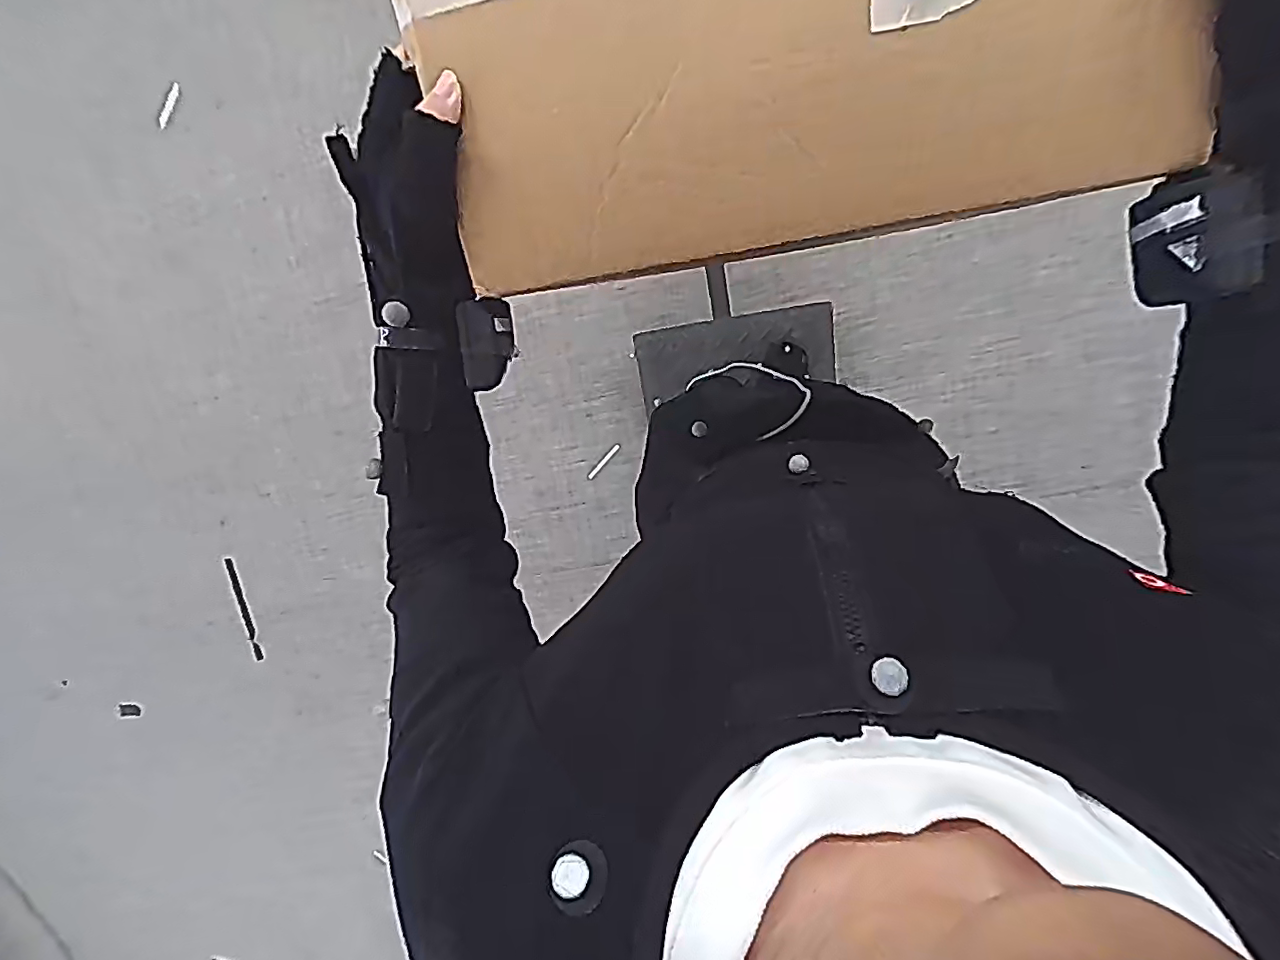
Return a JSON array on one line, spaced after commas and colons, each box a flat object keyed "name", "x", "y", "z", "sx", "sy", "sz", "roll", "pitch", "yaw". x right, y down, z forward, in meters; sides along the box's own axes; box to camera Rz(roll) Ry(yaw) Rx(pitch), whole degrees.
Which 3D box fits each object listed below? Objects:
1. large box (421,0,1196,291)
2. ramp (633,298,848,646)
[{"name": "large box", "x": 0.084, "y": -0.344, "z": 0.415, "sx": 0.408, "sy": 0.320, "sz": 0.320, "roll": -7, "pitch": 110, "yaw": 9}, {"name": "ramp", "x": 0.311, "y": 0.046, "z": 1.512, "sx": 0.509, "sy": 0.206, "sz": 0.991, "roll": -9, "pitch": 101, "yaw": 10}]
